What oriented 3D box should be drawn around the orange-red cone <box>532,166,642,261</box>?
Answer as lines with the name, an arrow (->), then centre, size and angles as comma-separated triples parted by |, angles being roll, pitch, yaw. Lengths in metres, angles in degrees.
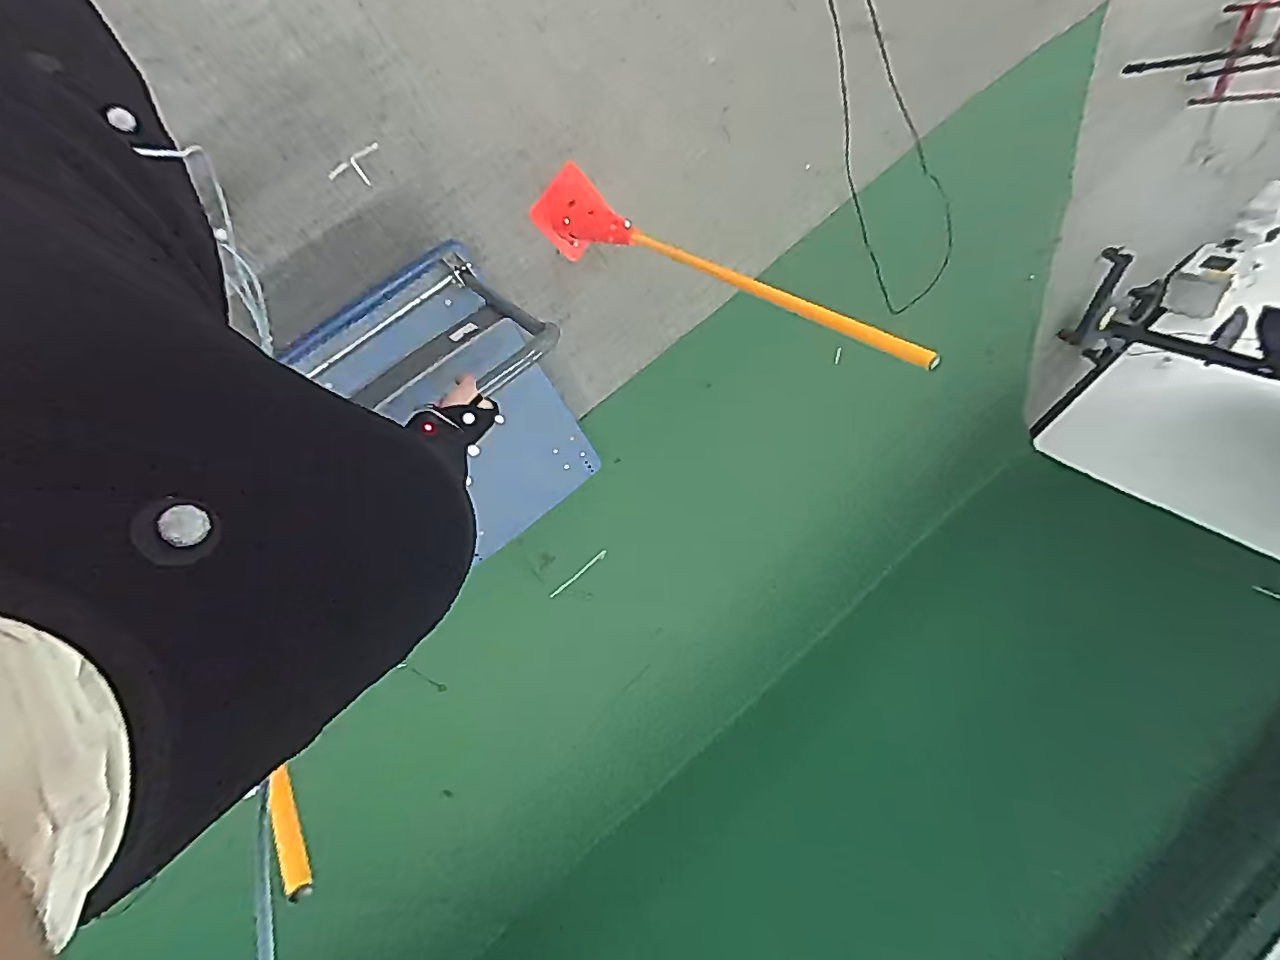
orange-red cone -> -0.105, -0.687, 1.458 | 0.199, 0.360, 0.198 | -51, 138, 3
